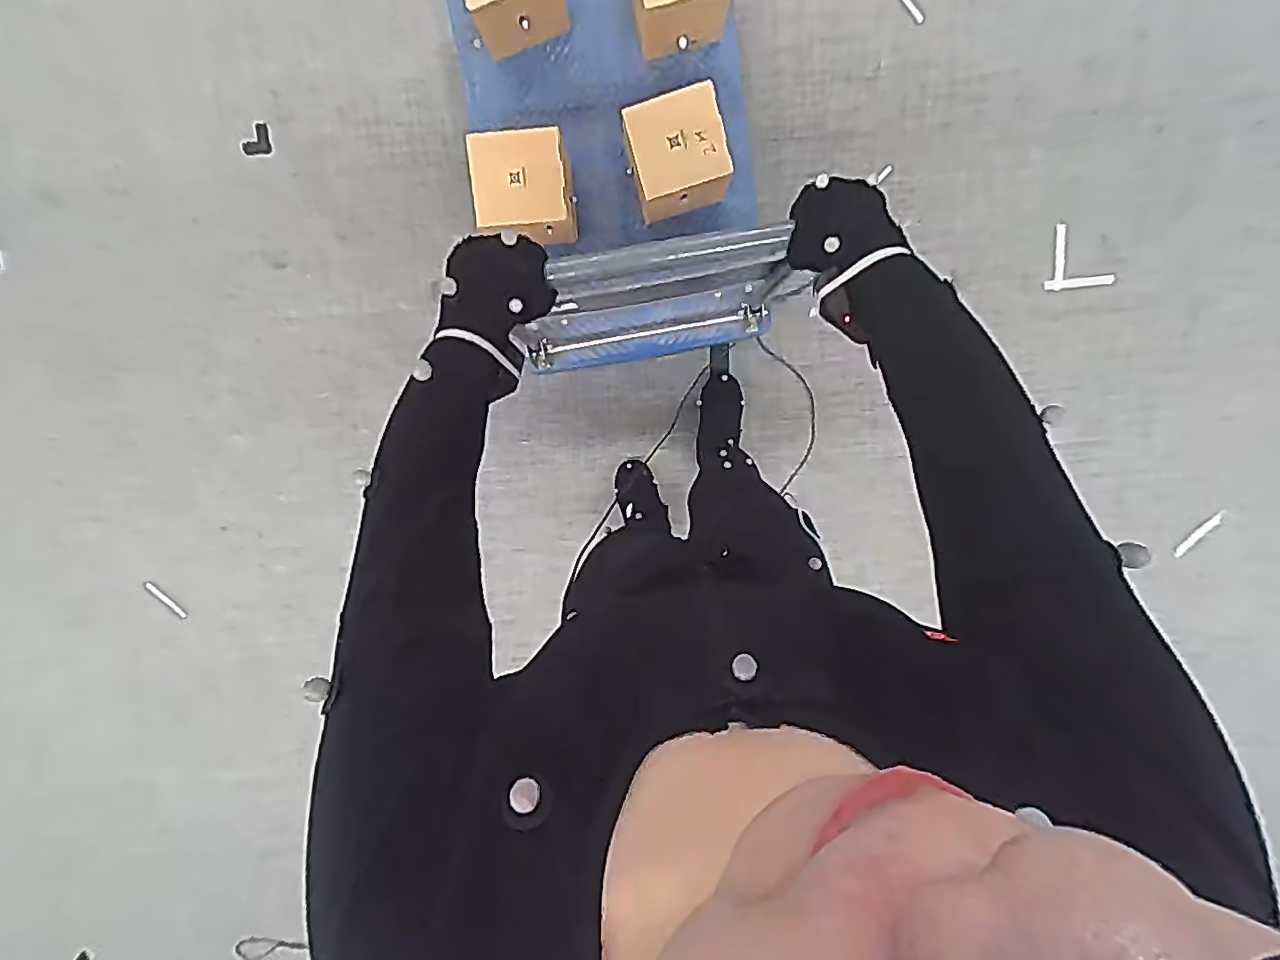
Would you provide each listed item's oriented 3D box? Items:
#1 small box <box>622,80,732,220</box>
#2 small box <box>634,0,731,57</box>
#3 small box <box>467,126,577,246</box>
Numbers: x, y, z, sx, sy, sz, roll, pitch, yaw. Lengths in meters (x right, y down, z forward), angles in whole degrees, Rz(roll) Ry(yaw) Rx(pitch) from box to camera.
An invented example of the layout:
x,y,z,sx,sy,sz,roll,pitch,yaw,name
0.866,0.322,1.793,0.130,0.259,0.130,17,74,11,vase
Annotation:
x,y,z,sx,sy,sz,roll,pitch,yaw,name
0.072,-0.643,1.080,0.179,0.176,0.168,-16,100,4,small box
0.070,-0.955,1.019,0.168,0.176,0.179,-13,102,3,small box
-0.230,-0.585,1.095,0.179,0.176,0.168,-5,100,0,small box
